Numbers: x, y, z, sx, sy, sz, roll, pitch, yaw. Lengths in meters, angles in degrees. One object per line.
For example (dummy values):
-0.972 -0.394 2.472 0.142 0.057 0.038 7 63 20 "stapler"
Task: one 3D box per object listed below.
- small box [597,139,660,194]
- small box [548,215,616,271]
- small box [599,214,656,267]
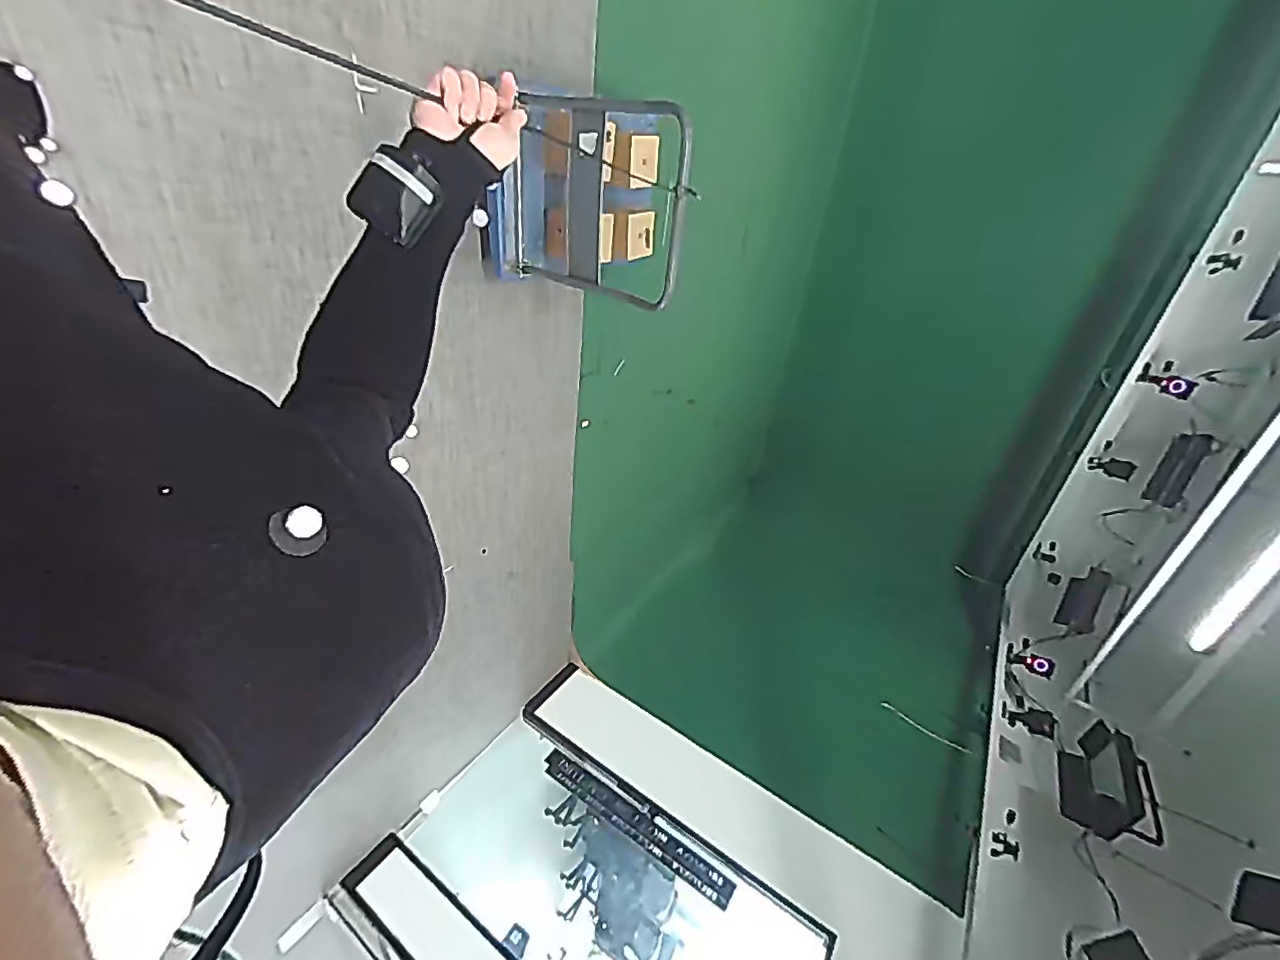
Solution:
-0.047 -1.173 2.024 0.179 0.176 0.168 -37 141 -44 "small box"
-0.211 -0.863 1.965 0.179 0.176 0.168 -31 136 -47 "small box"
-0.057 -0.963 2.162 0.179 0.176 0.168 -35 138 -44 "small box"
